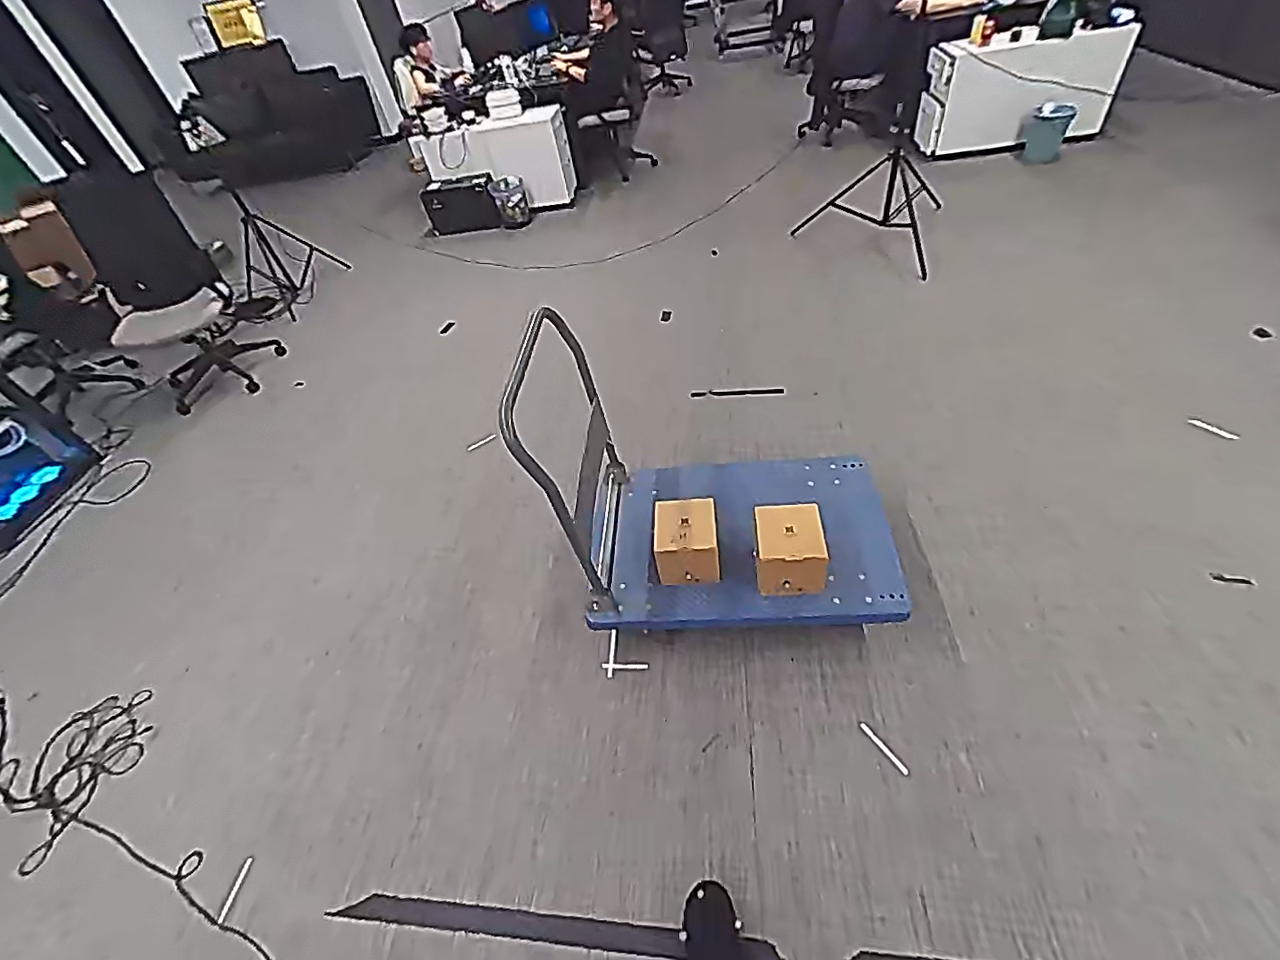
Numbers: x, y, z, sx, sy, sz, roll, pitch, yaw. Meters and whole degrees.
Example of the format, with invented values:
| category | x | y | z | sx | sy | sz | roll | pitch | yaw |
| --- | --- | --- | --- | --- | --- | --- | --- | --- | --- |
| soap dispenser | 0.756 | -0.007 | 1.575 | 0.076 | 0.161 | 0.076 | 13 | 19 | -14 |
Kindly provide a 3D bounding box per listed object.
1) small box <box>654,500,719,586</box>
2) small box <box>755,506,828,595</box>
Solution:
| category | x | y | z | sx | sy | sz | roll | pitch | yaw |
| --- | --- | --- | --- | --- | --- | --- | --- | --- | --- |
| small box | 0.132 | 0.177 | 1.515 | 0.168 | 0.176 | 0.179 | -5 | 46 | 8 |
| small box | 0.397 | 0.190 | 1.449 | 0.168 | 0.176 | 0.179 | -4 | 46 | 9 |
